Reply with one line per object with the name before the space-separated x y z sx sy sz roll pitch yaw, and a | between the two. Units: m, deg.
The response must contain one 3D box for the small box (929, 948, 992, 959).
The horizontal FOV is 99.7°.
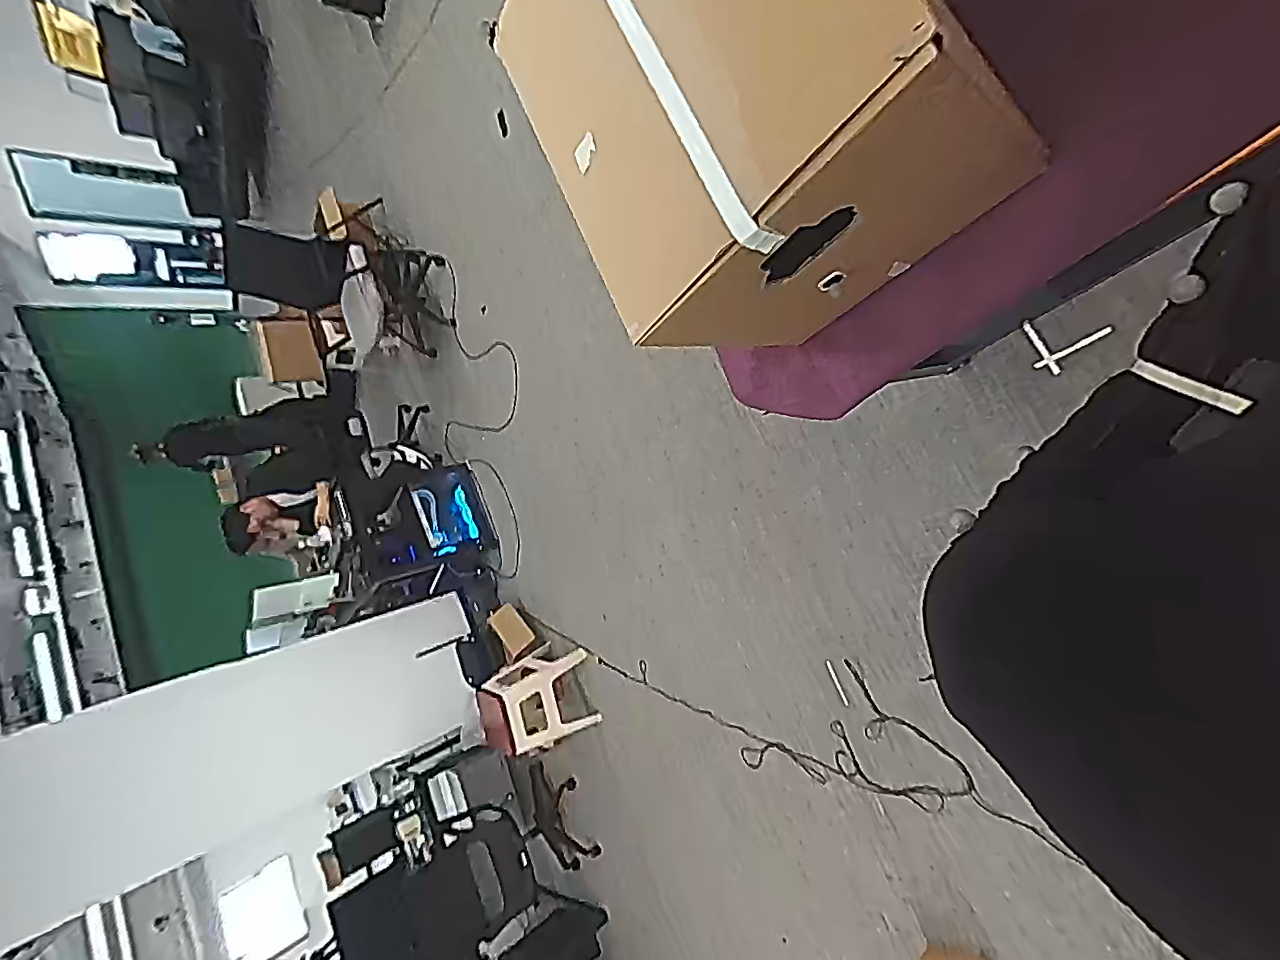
small box | 0.879 1.411 1.452 0.179 0.176 0.168 -45 67 45
